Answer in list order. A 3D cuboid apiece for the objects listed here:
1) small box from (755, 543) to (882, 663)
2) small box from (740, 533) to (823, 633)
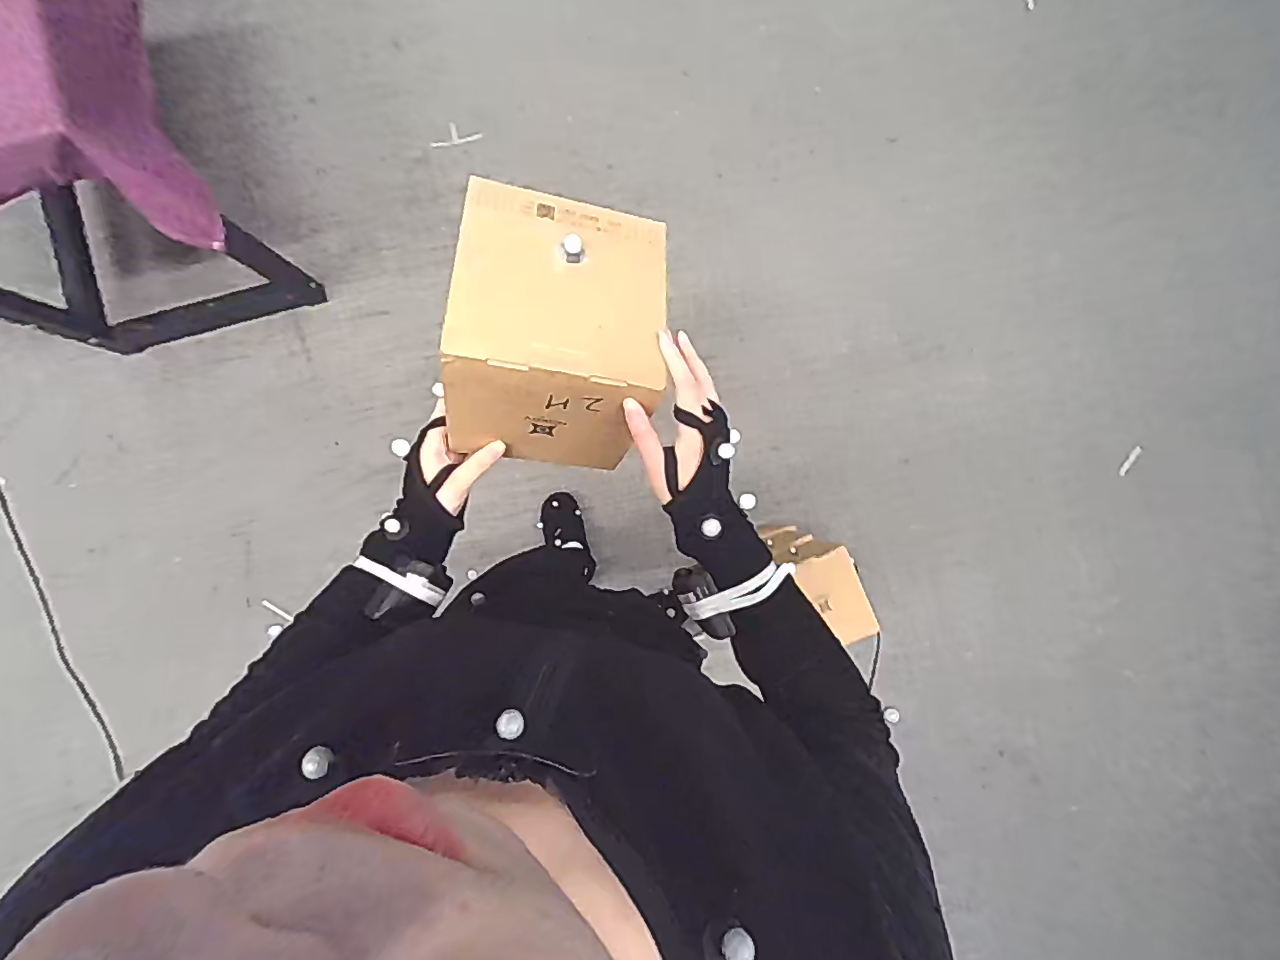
[{"bbox_3d":[0.354,0.241,1.103,0.168,0.176,0.179,-22,87,-1],"label":"small box"},{"bbox_3d":[0.347,0.234,1.266,0.179,0.176,0.168,-25,88,-2],"label":"small box"}]
